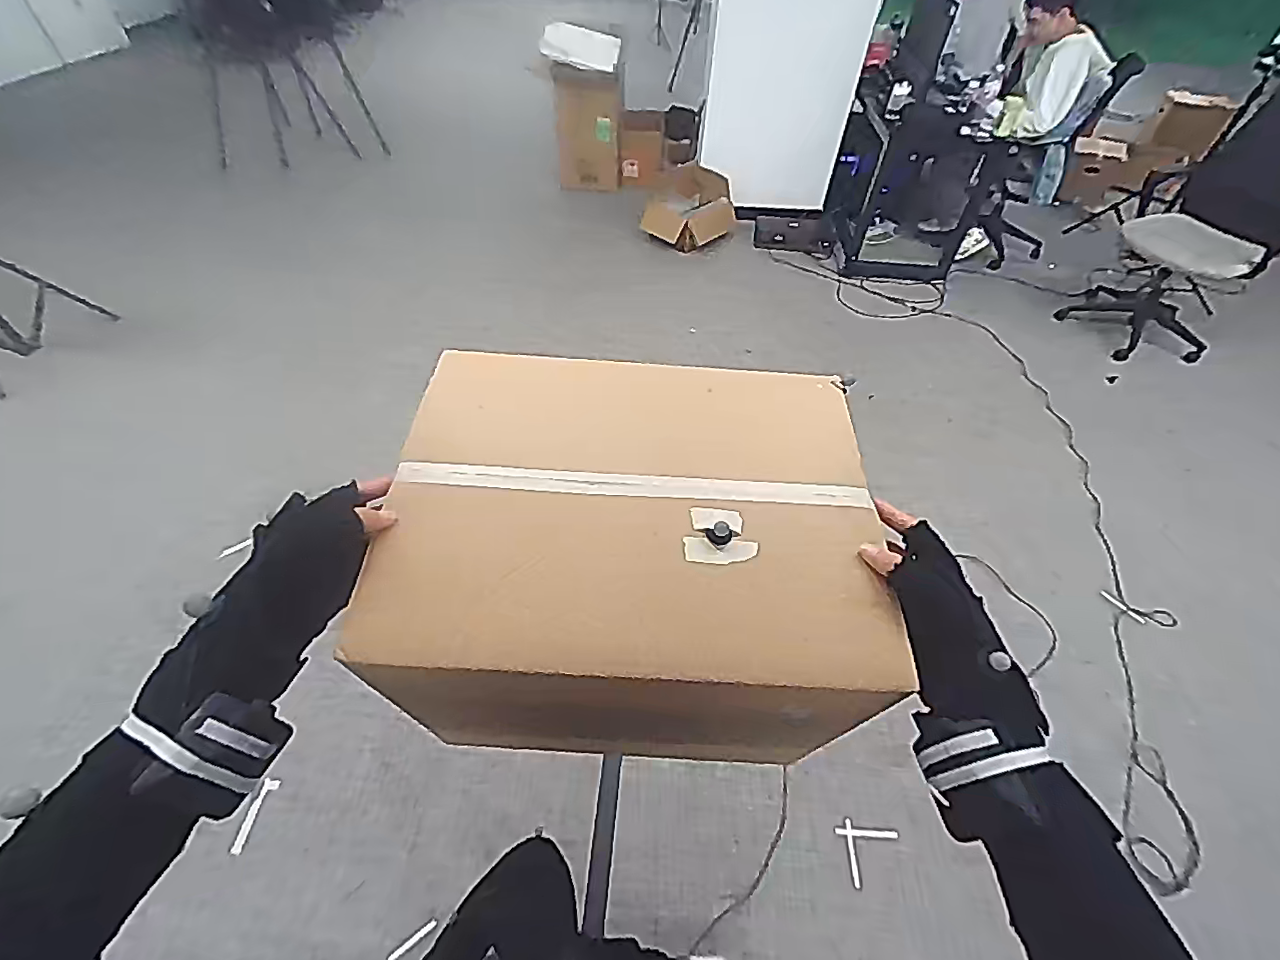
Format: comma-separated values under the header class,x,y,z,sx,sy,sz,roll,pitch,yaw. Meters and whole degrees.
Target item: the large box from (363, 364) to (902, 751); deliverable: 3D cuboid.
class,x,y,z,sx,sy,sz,roll,pitch,yaw
large box,-0.009,0.100,0.598,0.408,0.320,0.320,4,54,-2
